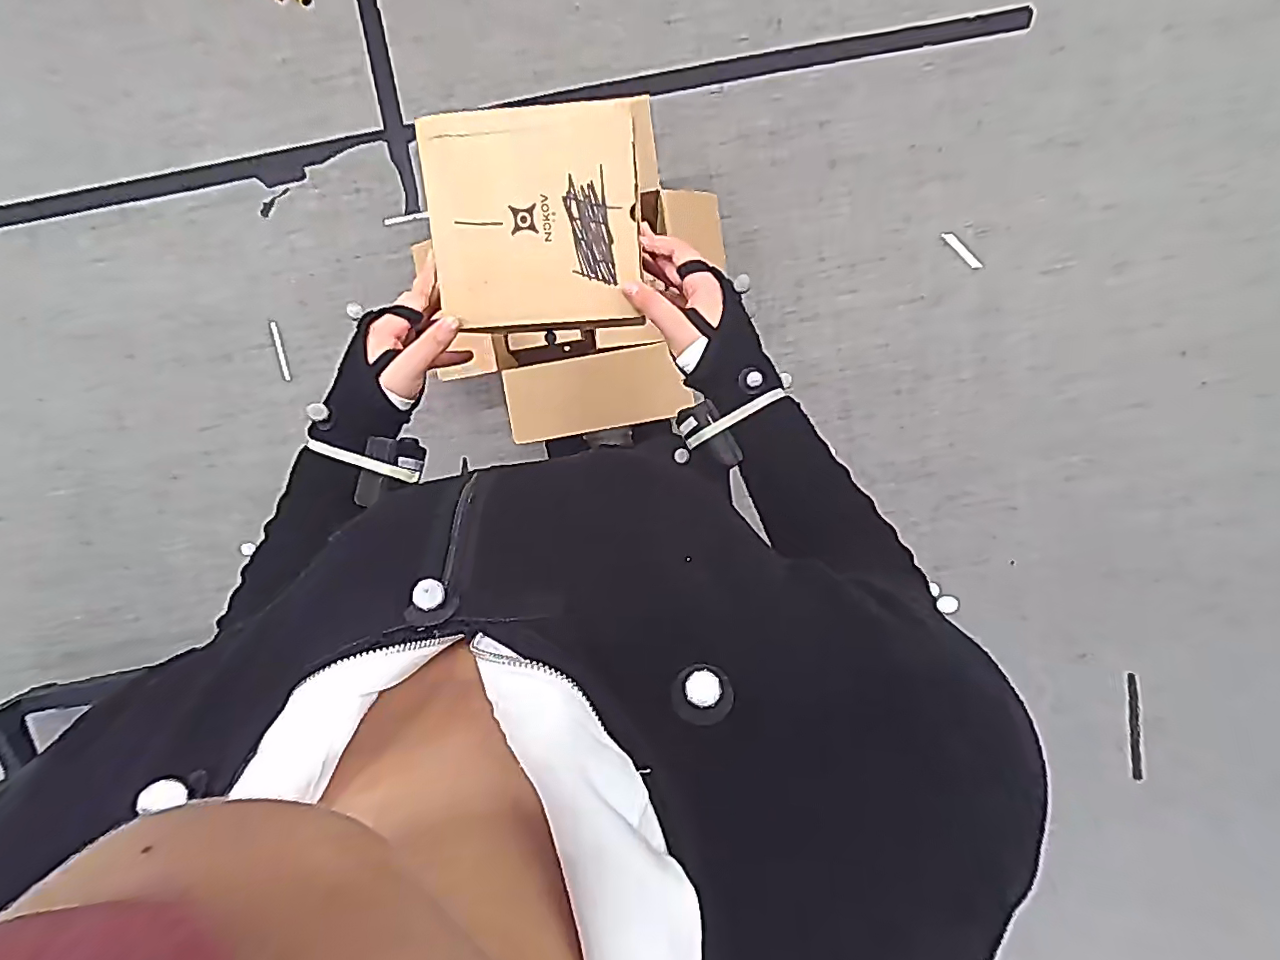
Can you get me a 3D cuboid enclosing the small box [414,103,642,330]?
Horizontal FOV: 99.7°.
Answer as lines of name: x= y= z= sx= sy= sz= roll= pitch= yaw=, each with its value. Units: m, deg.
small box: x=-0.088 y=-0.234 z=0.522 sx=0.179 sy=0.176 sz=0.168 roll=-2 pitch=104 yaw=3
